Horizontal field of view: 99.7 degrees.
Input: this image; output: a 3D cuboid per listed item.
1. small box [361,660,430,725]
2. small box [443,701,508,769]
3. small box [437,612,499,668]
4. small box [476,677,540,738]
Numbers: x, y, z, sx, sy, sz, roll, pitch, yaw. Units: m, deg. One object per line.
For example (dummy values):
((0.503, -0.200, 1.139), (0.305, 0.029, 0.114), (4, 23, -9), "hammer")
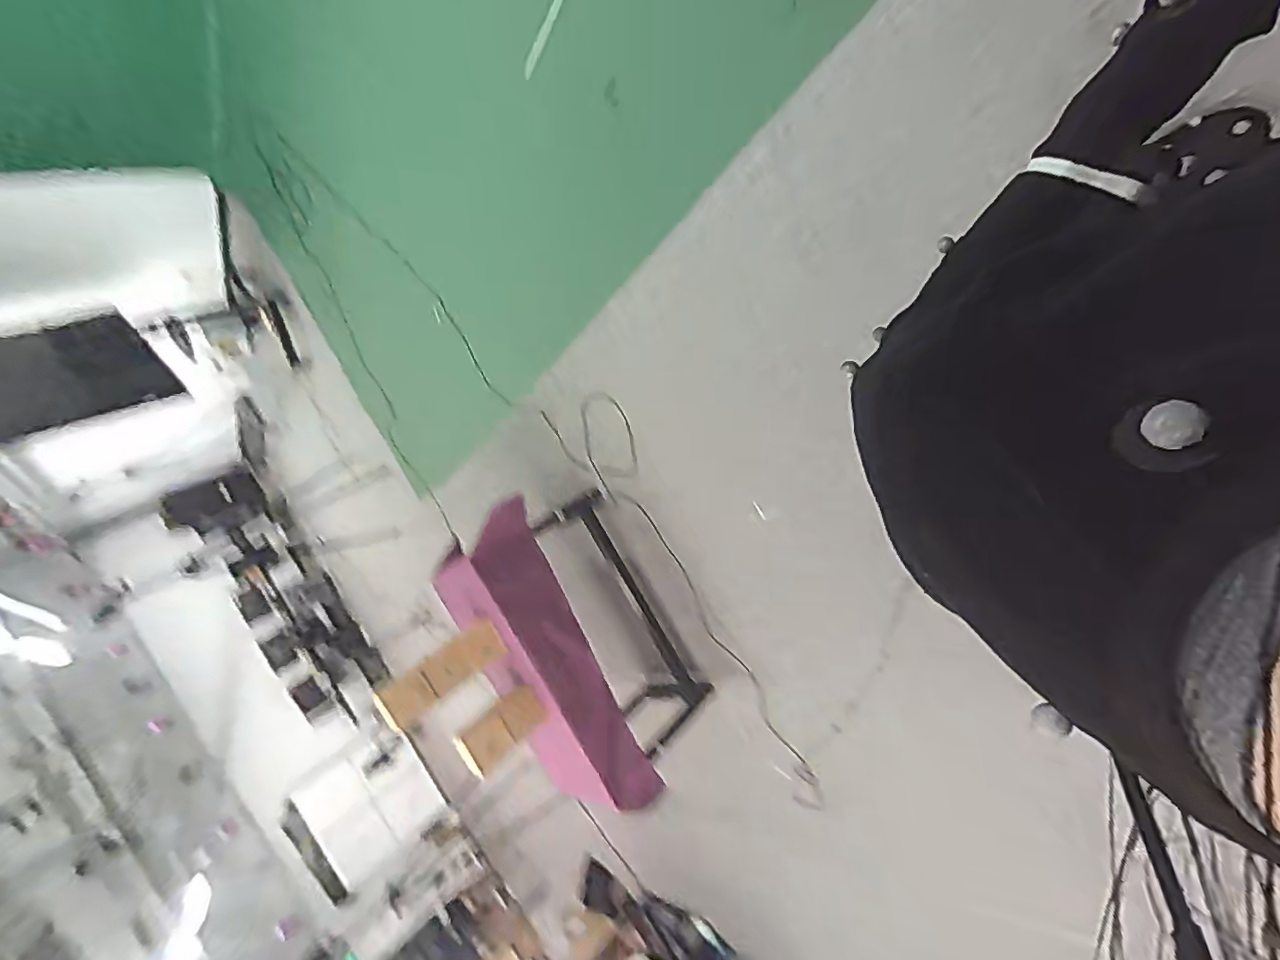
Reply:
((-0.938, 0.810, 2.080), (0.179, 0.176, 0.168), (-25, 97, 50), "small box")
((-0.667, 1.036, 2.205), (0.168, 0.176, 0.179), (-25, 96, 51), "small box")
((-0.724, 0.673, 2.290), (0.179, 0.176, 0.168), (-23, 97, 51), "small box")
((-0.562, 0.965, 2.310), (0.168, 0.176, 0.179), (-25, 95, 51), "small box")
